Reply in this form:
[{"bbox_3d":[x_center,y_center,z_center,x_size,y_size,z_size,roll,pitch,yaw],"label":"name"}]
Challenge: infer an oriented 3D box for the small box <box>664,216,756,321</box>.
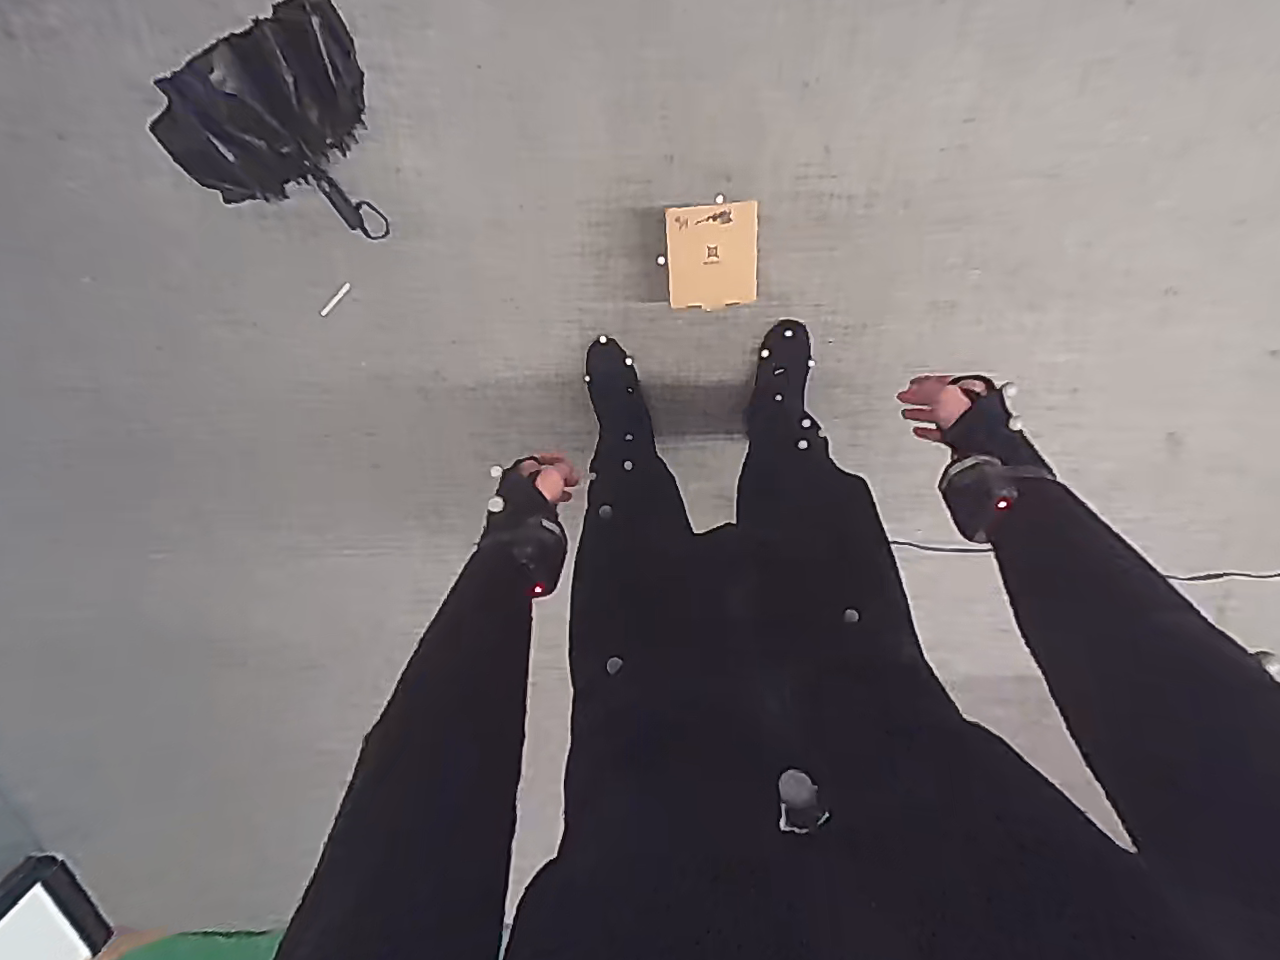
[{"bbox_3d":[0.134,-0.424,1.080,0.168,0.176,0.179,-3,113,2],"label":"small box"}]
